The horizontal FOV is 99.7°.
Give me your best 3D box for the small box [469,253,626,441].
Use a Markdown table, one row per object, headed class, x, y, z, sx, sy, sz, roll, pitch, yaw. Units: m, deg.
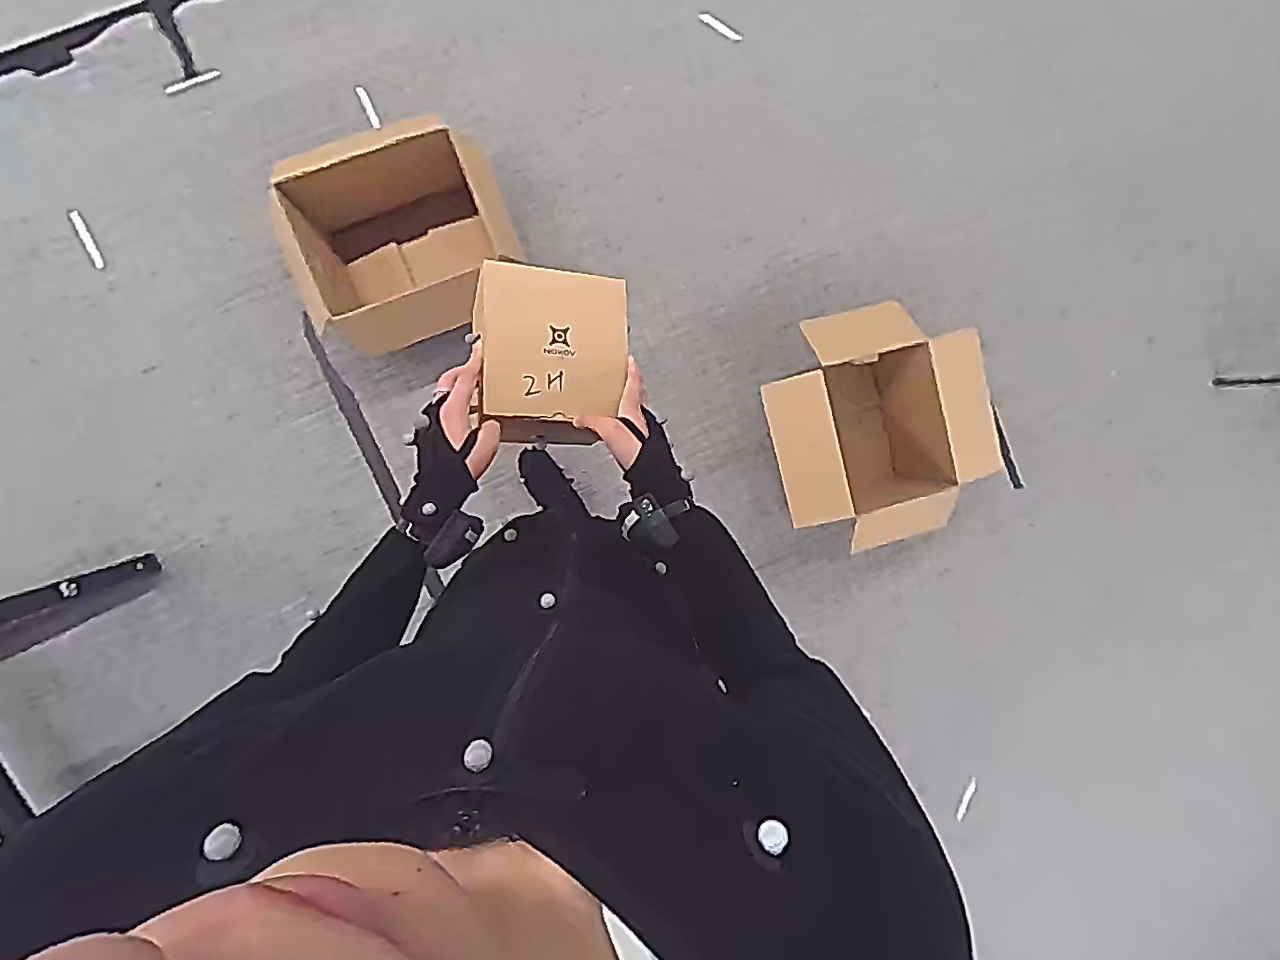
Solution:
| class | x | y | z | sx | sy | sz | roll | pitch | yaw |
| --- | --- | --- | --- | --- | --- | --- | --- | --- | --- |
| small box | -0.123 | -0.150 | 0.672 | 0.168 | 0.176 | 0.179 | -1 | 85 | -20 |
